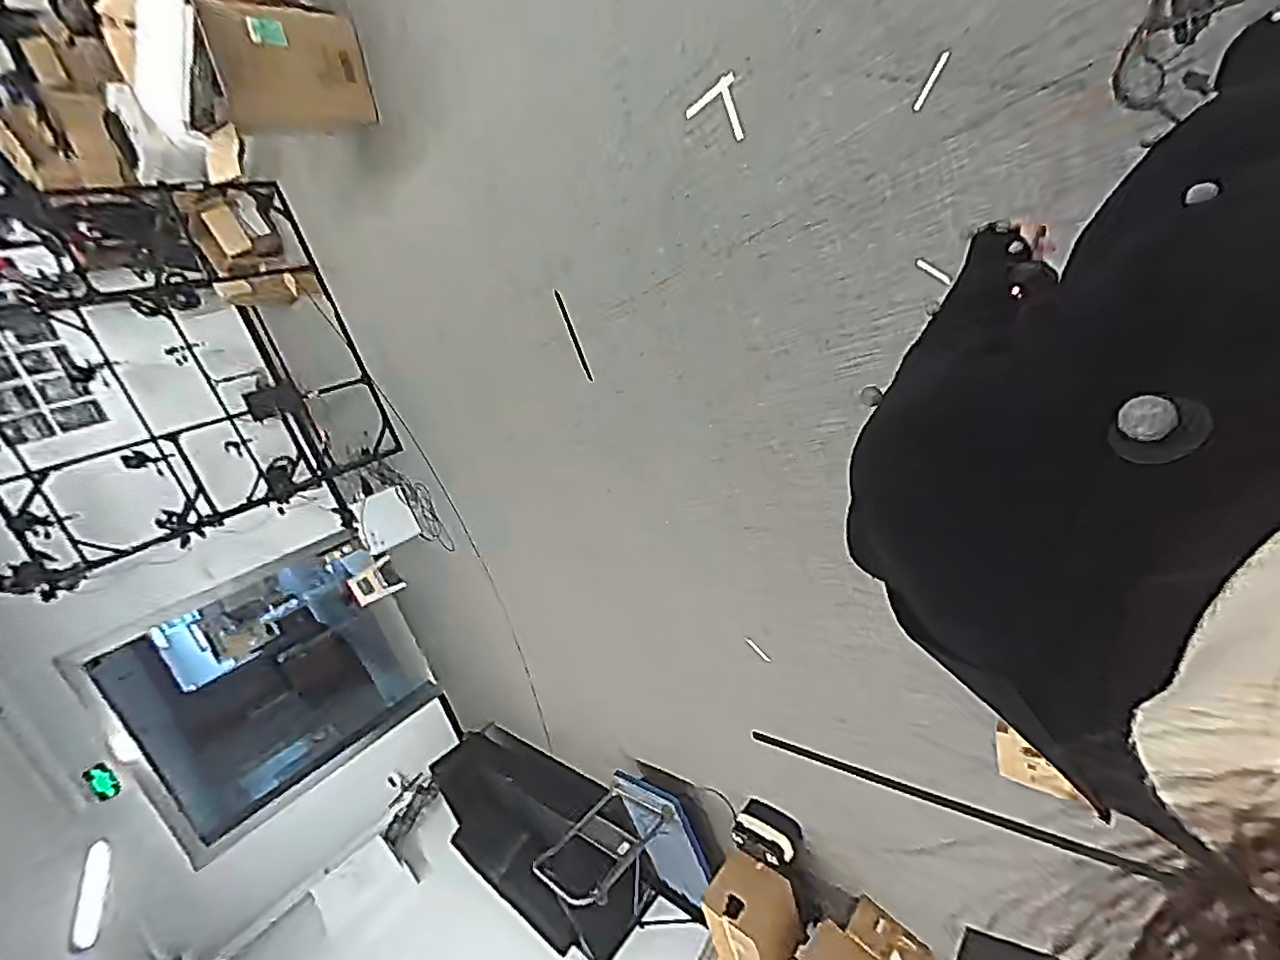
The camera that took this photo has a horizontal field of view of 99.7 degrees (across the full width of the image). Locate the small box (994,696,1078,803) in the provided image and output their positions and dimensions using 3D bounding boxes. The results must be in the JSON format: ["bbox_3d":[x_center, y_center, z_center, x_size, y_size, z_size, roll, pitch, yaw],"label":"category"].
[{"bbox_3d":[1.106,0.741,1.509,0.168,0.176,0.179,4,117,46],"label":"small box"}]

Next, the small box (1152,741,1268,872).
[{"bbox_3d":[1.334,0.750,1.269,0.179,0.176,0.168,3,116,47],"label":"small box"}]
